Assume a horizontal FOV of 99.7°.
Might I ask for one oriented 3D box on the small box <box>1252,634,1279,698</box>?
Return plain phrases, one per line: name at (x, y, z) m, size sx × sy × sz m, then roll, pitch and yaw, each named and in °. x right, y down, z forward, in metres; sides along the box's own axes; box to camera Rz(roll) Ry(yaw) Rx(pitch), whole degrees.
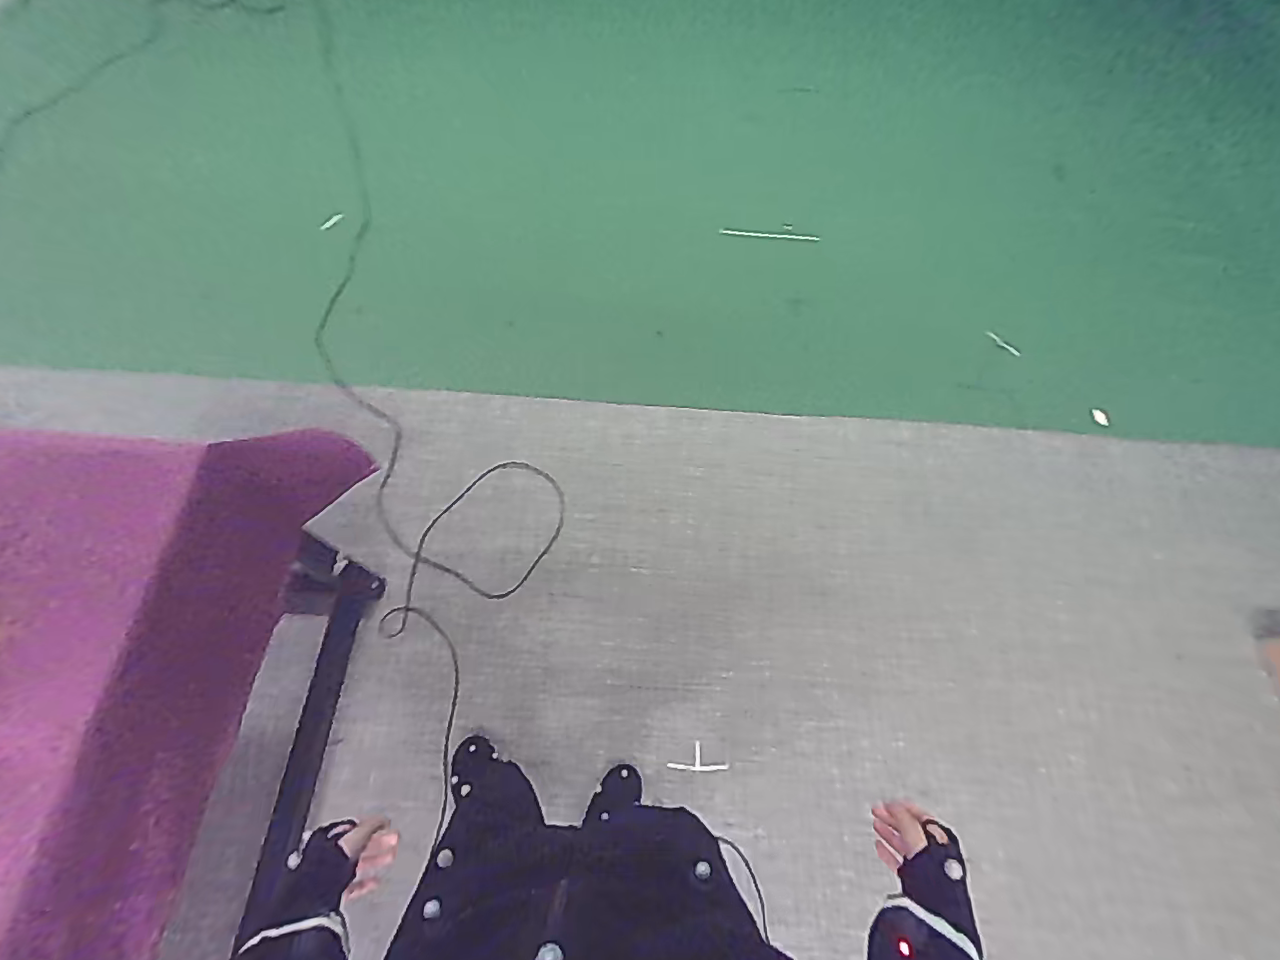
small box at (1.759, 0.484, 1.381) m, size 0.168 × 0.176 × 0.179 m, roll 3°, pitch 64°, yaw -2°
